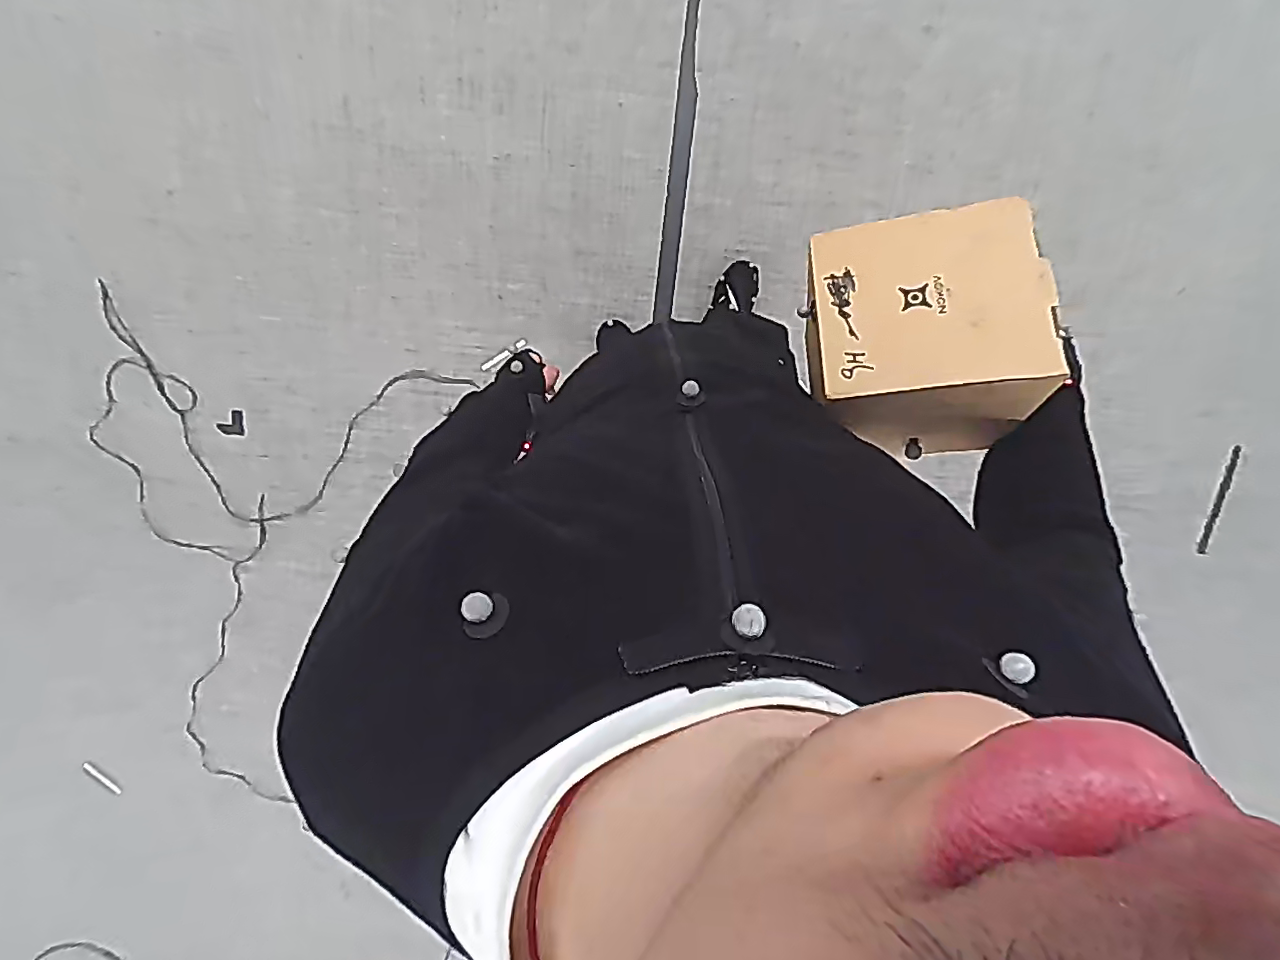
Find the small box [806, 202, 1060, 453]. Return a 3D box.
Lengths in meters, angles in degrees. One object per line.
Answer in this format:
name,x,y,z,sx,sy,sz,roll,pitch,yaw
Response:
small box,0.263,-0.134,0.535,0.179,0.176,0.168,-4,72,14
